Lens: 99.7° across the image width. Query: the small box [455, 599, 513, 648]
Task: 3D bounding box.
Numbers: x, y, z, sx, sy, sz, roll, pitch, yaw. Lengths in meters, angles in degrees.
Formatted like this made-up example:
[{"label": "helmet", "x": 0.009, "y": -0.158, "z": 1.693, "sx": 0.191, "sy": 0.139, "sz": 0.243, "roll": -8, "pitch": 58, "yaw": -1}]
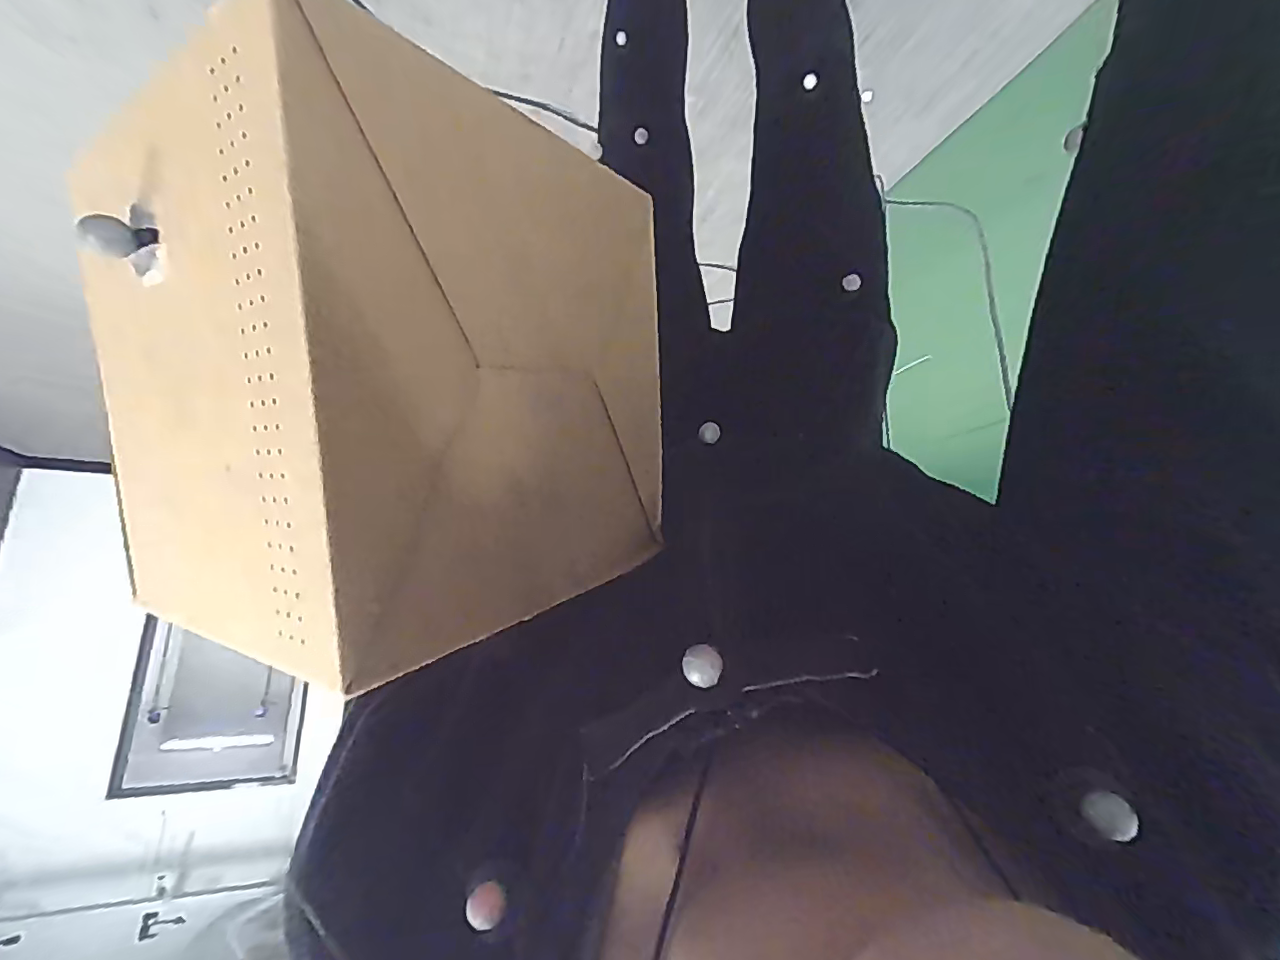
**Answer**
[{"label": "small box", "x": -0.575, "y": 0.529, "z": 1.996, "sx": 0.168, "sy": 0.176, "sz": 0.179, "roll": 10, "pitch": 162, "yaw": -30}]
